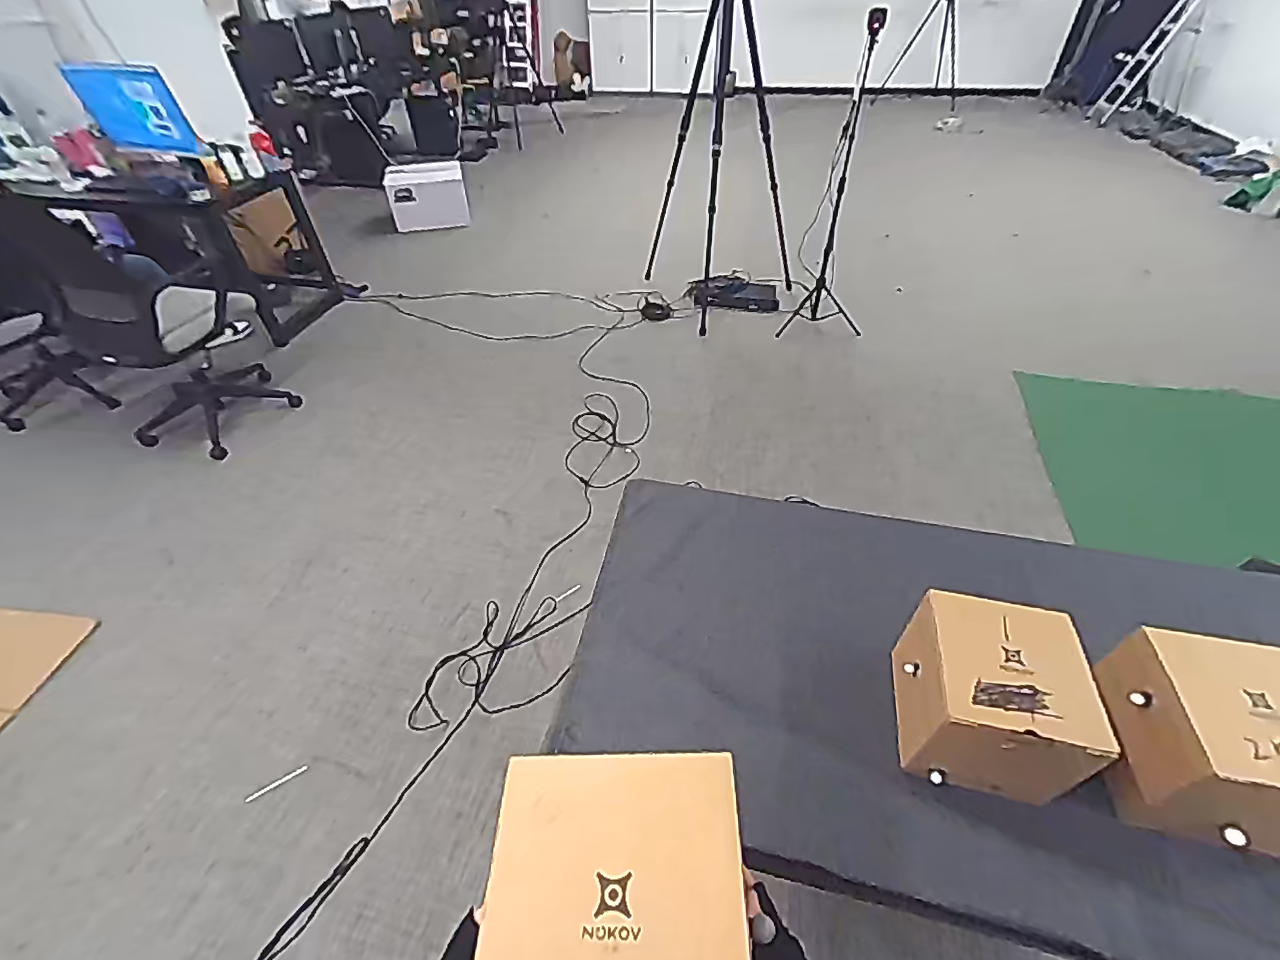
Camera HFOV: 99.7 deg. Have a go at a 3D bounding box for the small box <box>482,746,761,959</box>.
[{"bbox_3d":[-0.005,0.313,0.392,0.168,0.176,0.179,-3,46,4],"label":"small box"}]

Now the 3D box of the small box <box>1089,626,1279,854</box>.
[{"bbox_3d":[0.667,0.305,0.639,0.168,0.176,0.179,8,44,10],"label":"small box"}]

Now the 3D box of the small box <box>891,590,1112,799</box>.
[{"bbox_3d":[0.431,0.271,0.682,0.168,0.176,0.179,10,44,11],"label":"small box"}]
